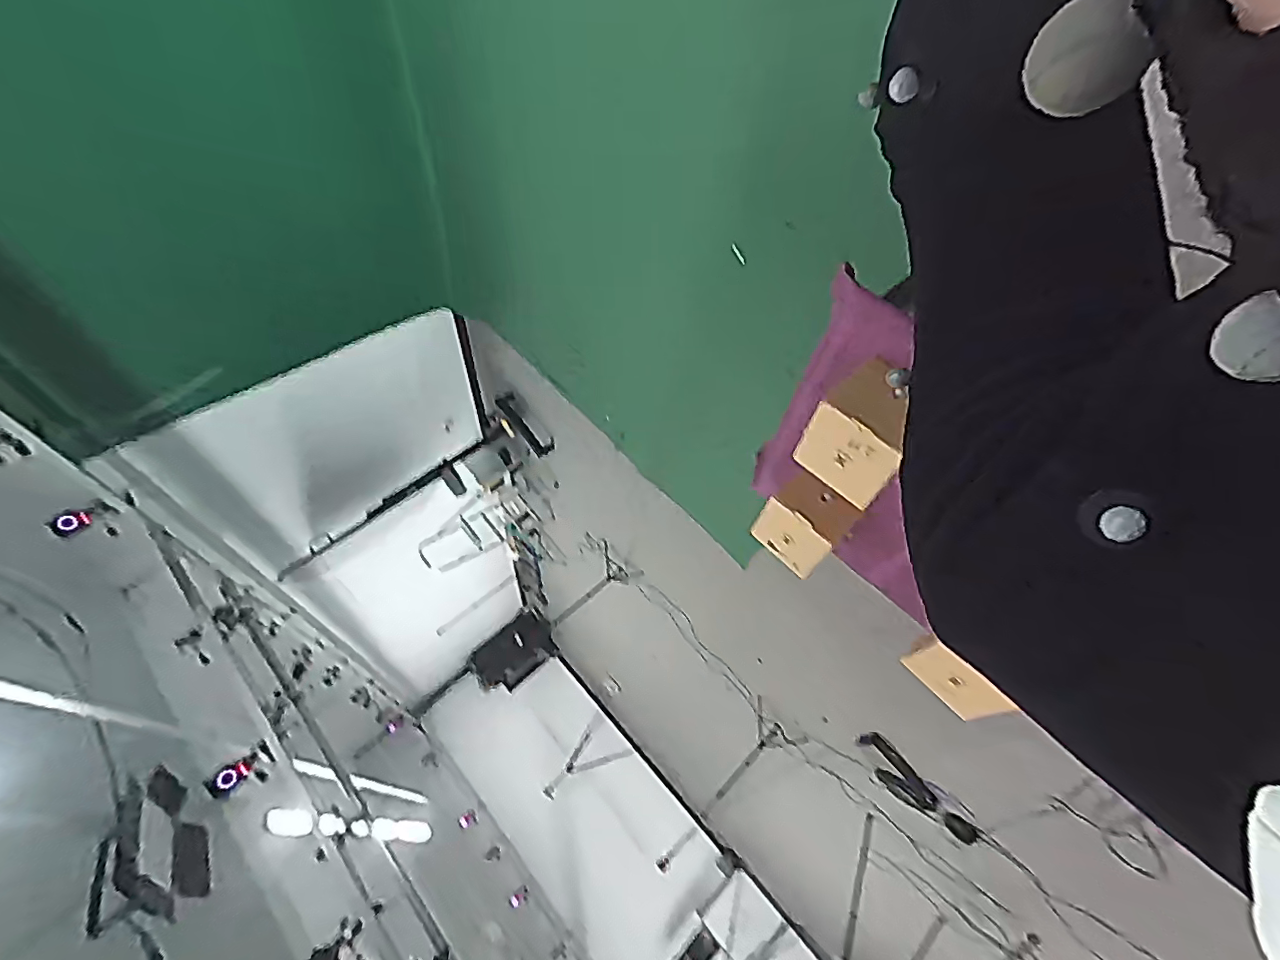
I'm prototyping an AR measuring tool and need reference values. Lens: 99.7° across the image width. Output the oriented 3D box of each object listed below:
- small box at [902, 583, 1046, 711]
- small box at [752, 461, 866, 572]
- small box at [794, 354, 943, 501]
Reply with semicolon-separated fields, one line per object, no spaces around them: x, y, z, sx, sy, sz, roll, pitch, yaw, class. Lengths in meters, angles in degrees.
0.697;0.344;1.125;0.168;0.176;0.179;45;153;18;small box
0.400;0.077;1.274;0.168;0.176;0.179;43;149;19;small box
0.426;-0.100;1.014;0.168;0.176;0.179;41;152;20;small box
